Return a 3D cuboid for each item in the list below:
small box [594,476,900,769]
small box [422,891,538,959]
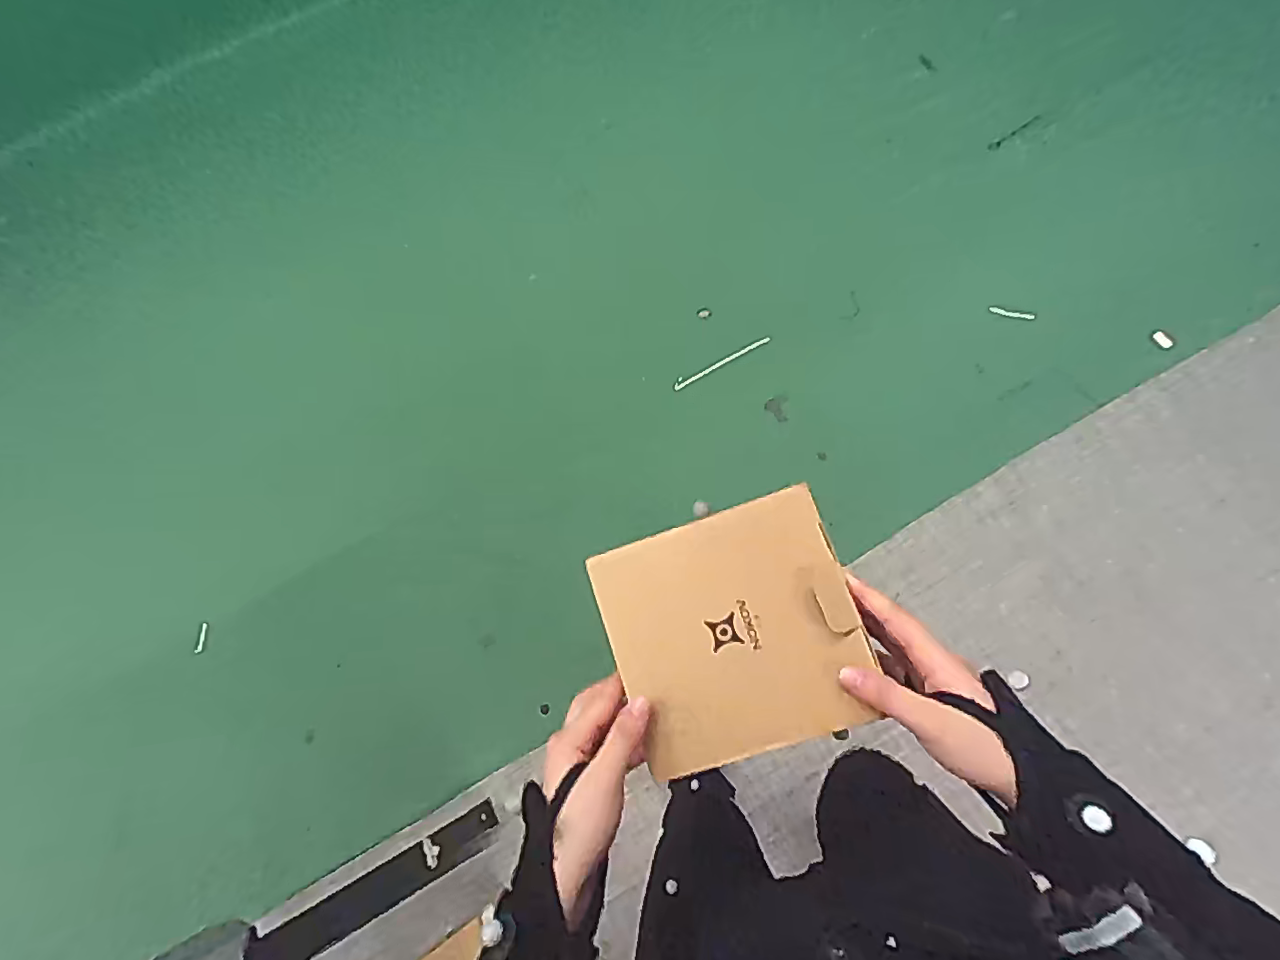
[{"bbox_3d":[0.083,0.112,0.459,0.179,0.176,0.168,-20,79,7],"label":"small box"},{"bbox_3d":[-0.320,0.971,1.072,0.179,0.176,0.168,-35,70,-6],"label":"small box"}]
